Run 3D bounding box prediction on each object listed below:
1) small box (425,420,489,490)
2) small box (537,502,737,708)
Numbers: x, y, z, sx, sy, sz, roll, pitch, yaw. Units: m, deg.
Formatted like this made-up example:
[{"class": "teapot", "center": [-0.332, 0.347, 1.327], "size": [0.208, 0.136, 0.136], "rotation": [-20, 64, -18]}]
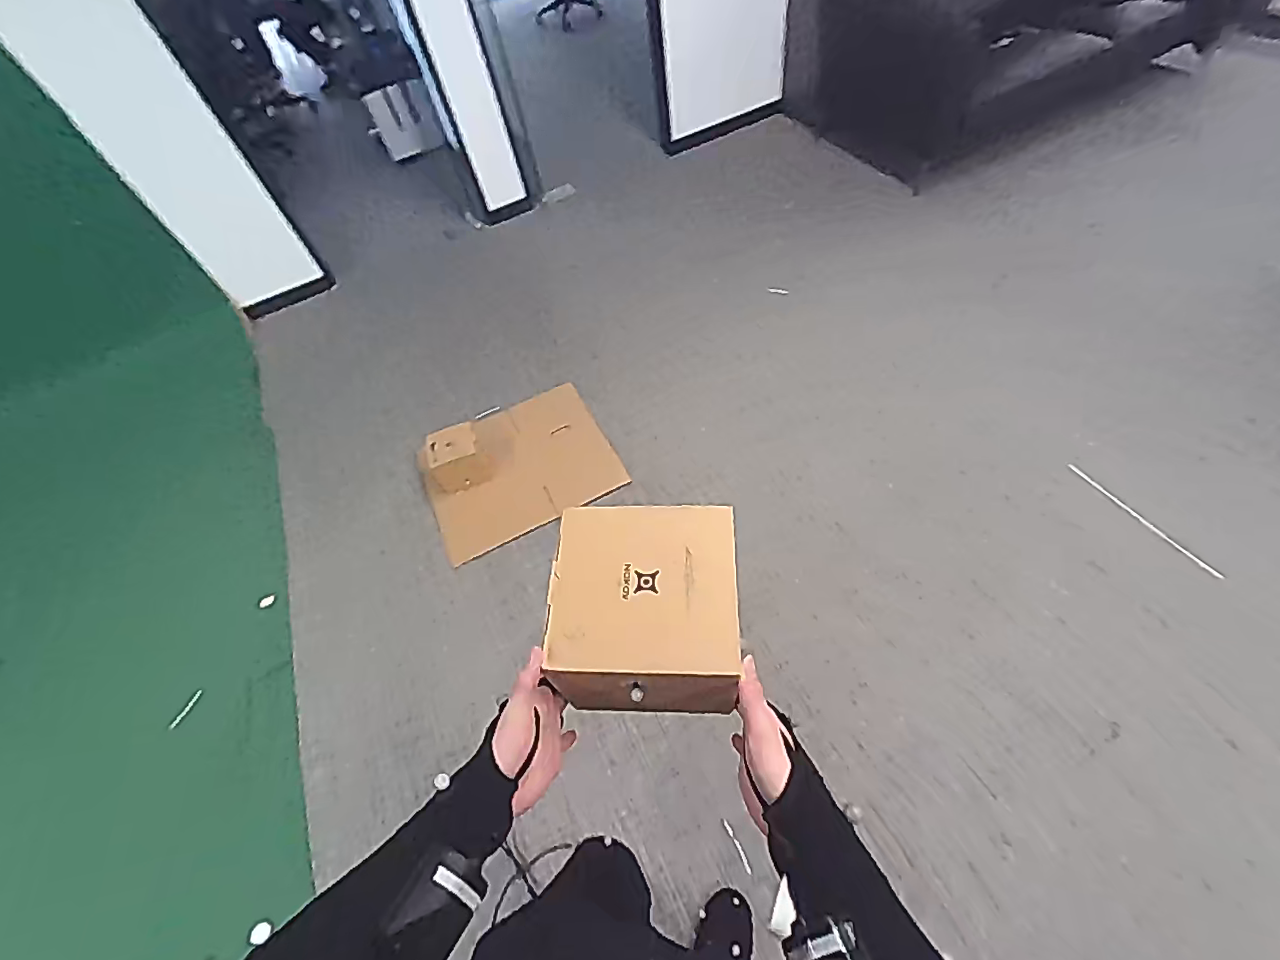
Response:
[{"class": "small box", "center": [-0.676, -0.091, 2.012], "size": [0.179, 0.176, 0.168], "rotation": [-19, 55, -4]}, {"class": "small box", "center": [0.008, 0.136, 0.569], "size": [0.179, 0.176, 0.168], "rotation": [-1, 57, 6]}]
